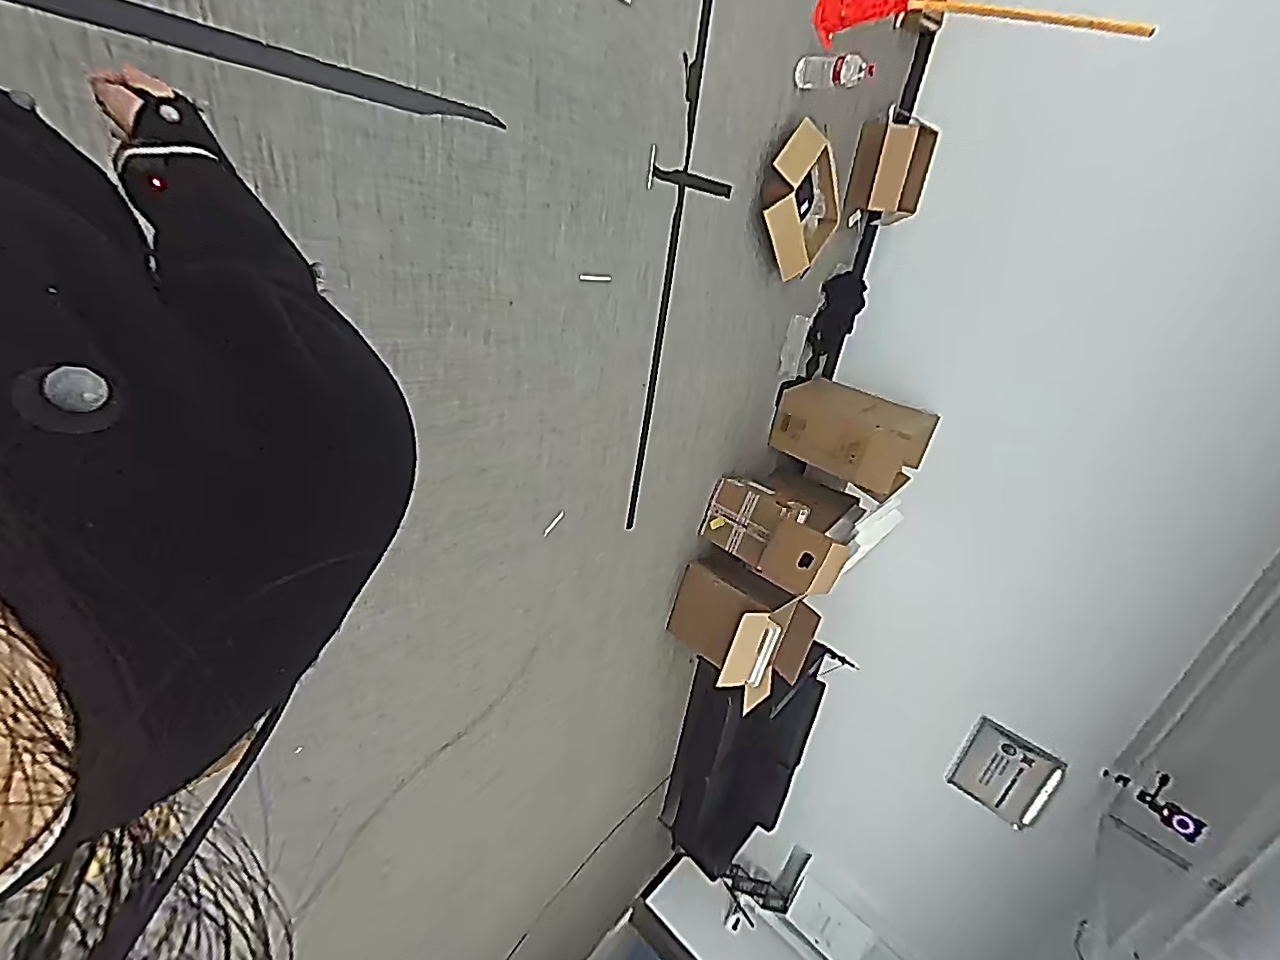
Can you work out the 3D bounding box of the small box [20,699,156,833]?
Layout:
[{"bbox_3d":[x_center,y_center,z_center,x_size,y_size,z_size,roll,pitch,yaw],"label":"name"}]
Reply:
[{"bbox_3d":[-1.261,0.646,1.240,0.168,0.176,0.179,-27,133,-42],"label":"small box"}]
